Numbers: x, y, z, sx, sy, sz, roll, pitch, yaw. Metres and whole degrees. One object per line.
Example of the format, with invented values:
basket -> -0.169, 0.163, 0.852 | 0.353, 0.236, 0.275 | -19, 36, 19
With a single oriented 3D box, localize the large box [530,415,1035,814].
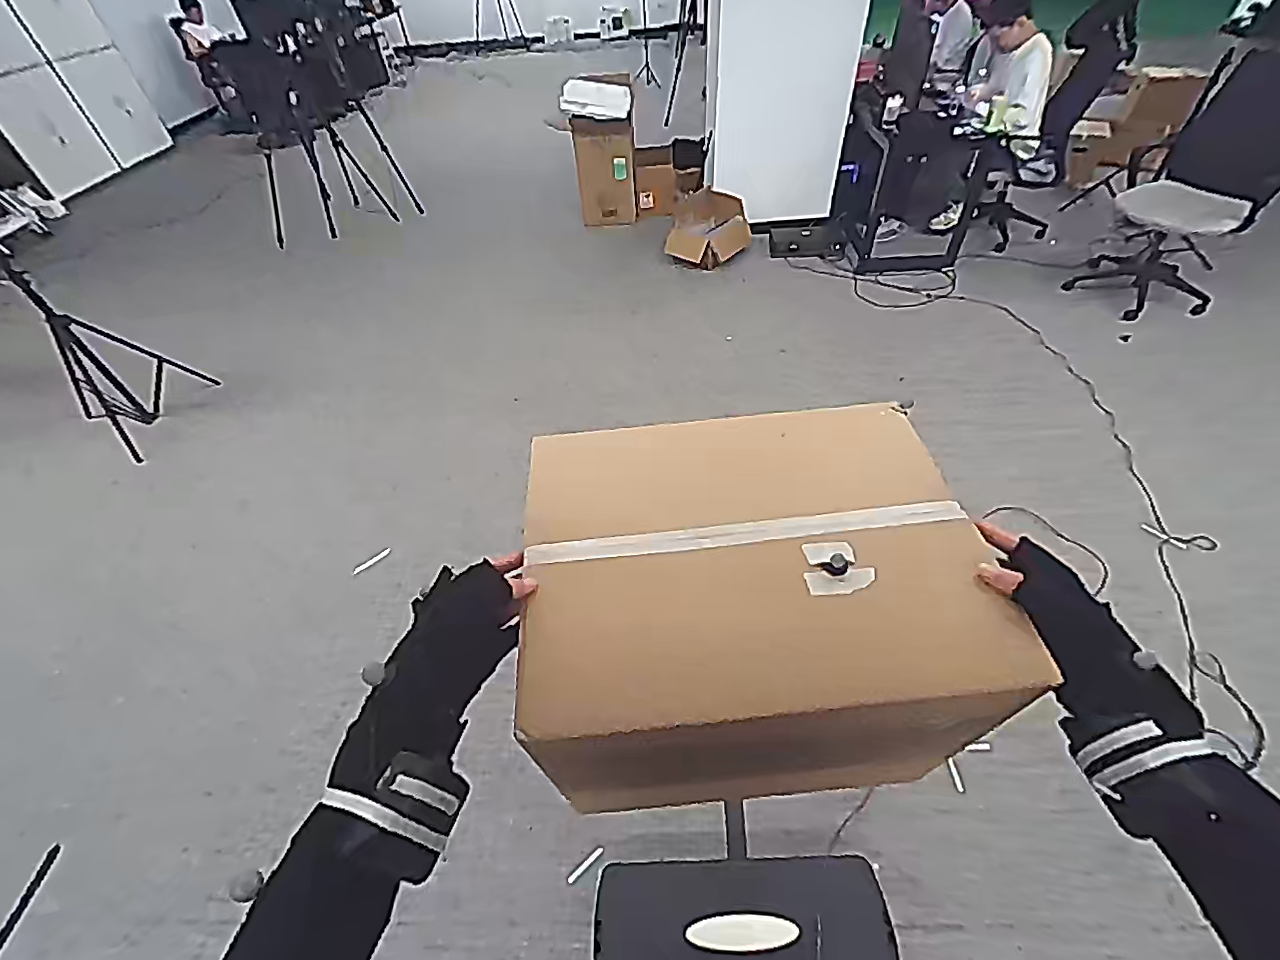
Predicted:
large box -> 0.104, 0.157, 0.621 | 0.408, 0.320, 0.320 | -6, 50, -1
